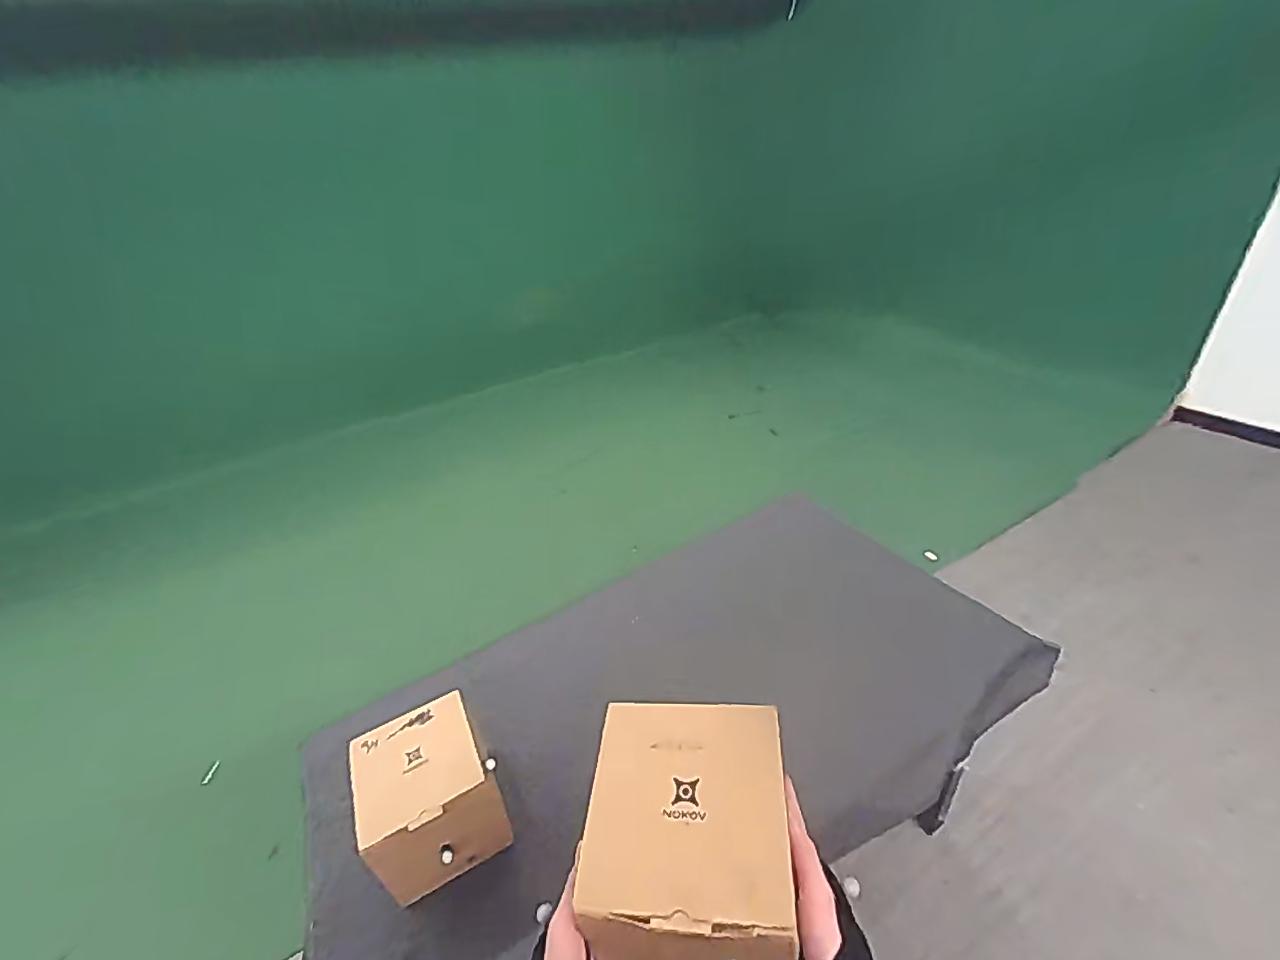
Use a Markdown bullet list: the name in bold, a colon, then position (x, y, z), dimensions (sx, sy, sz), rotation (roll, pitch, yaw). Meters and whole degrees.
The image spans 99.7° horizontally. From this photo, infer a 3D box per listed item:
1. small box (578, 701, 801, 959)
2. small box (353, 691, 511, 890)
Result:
- **small box**: position (0.054, 0.332, 0.496), dimensions (0.168, 0.176, 0.179), rotation (-2, 32, 10)
- **small box**: position (-0.305, 0.462, 0.803), dimensions (0.168, 0.176, 0.179), rotation (-20, 35, -21)
